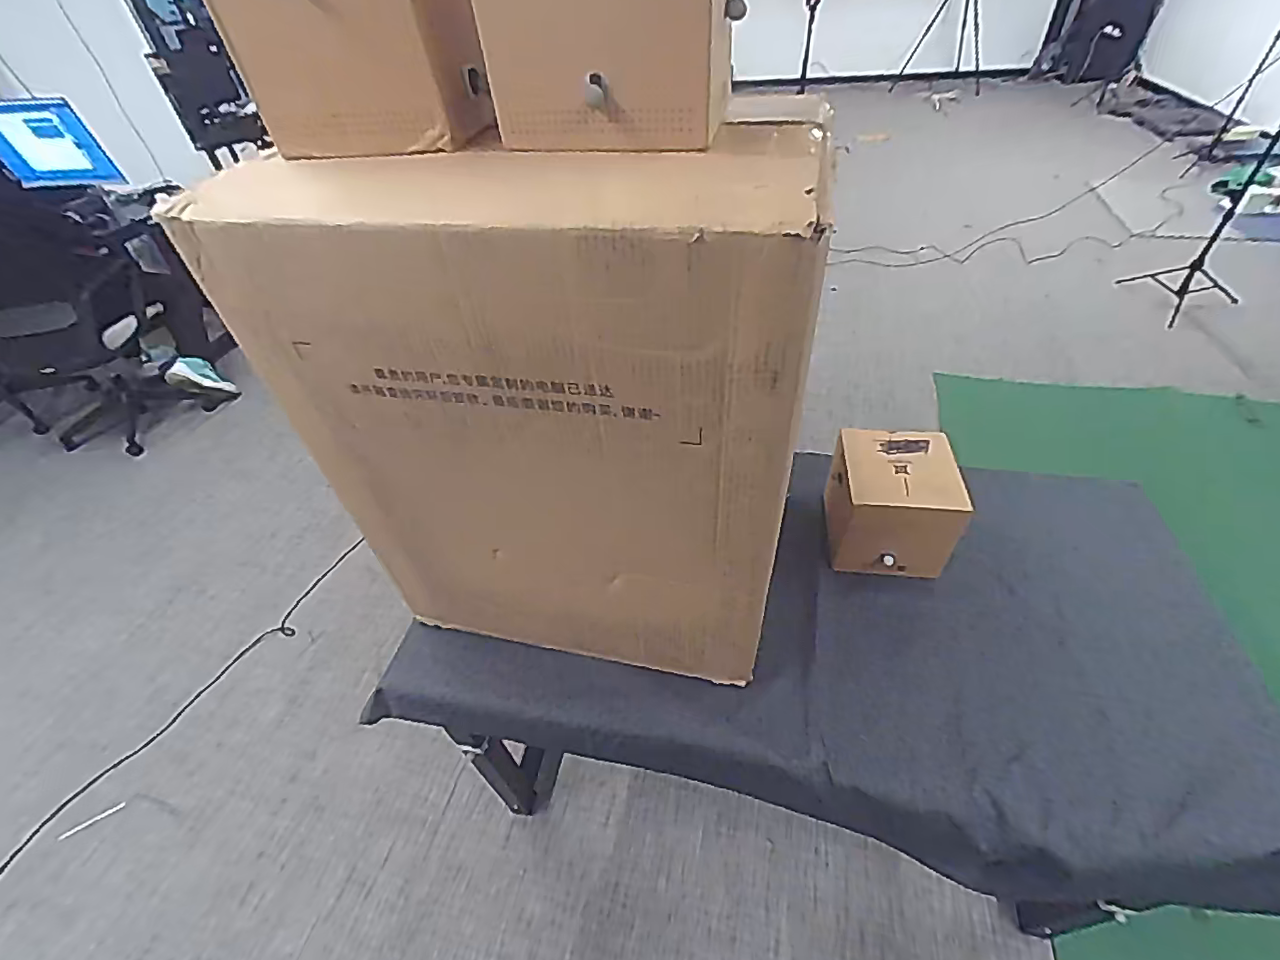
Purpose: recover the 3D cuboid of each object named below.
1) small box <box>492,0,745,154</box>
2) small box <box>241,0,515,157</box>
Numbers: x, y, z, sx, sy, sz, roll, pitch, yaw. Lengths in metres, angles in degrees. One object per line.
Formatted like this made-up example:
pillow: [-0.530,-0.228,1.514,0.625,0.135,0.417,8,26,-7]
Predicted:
small box: [-0.007,-0.381,0.442,0.179,0.176,0.168,7,47,11]
small box: [-0.224,-0.406,0.484,0.179,0.176,0.168,5,48,9]
